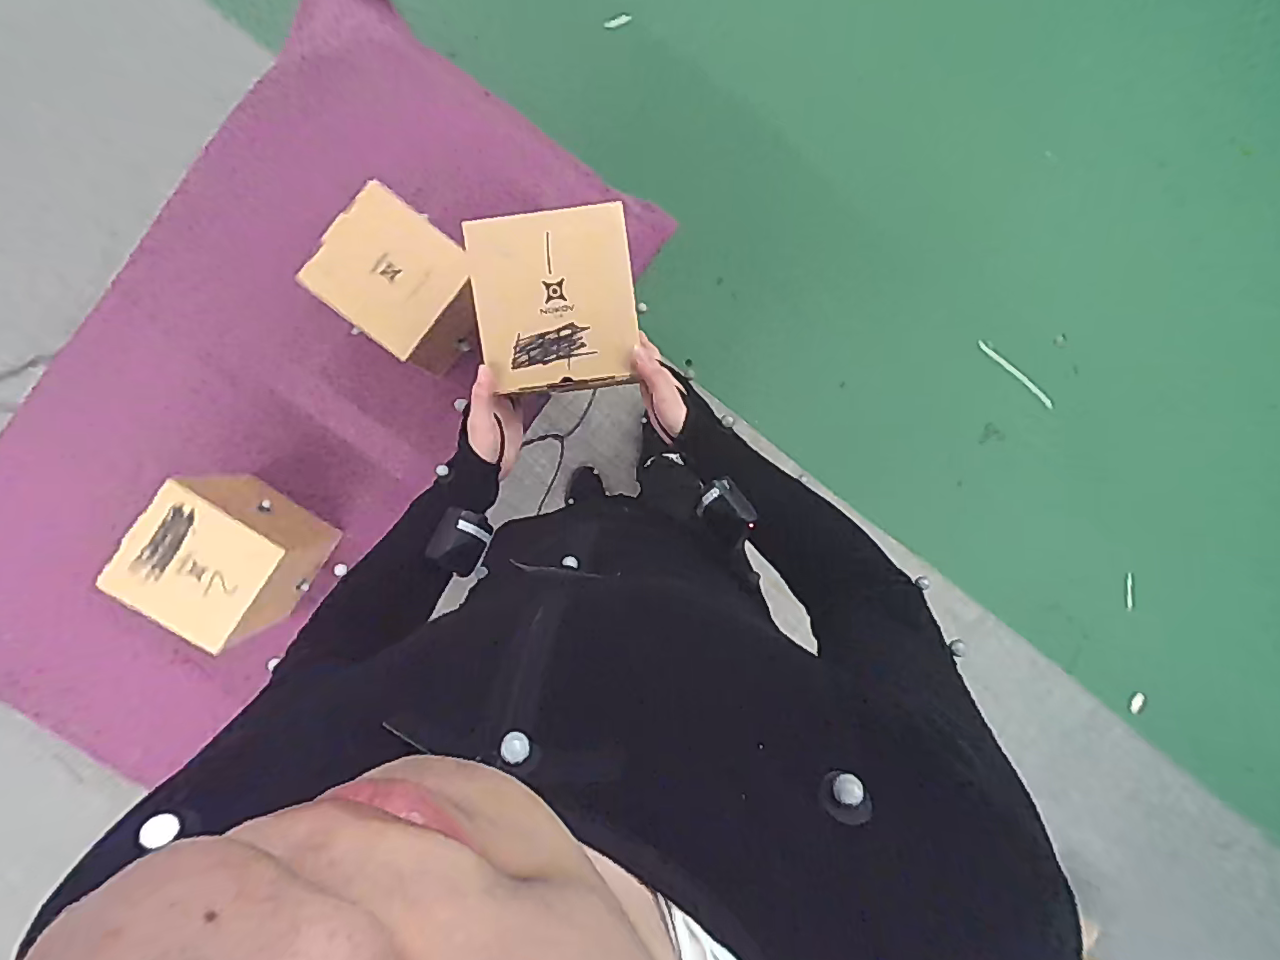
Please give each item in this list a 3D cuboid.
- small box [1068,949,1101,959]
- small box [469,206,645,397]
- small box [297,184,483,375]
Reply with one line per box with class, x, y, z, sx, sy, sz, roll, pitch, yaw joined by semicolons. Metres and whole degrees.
small box;1.313;1.484;1.520;0.179;0.176;0.168;32;91;-6
small box;-0.082;-0.191;0.628;0.168;0.176;0.179;-6;97;0
small box;-0.331;-0.270;0.780;0.179;0.176;0.168;38;91;-4
